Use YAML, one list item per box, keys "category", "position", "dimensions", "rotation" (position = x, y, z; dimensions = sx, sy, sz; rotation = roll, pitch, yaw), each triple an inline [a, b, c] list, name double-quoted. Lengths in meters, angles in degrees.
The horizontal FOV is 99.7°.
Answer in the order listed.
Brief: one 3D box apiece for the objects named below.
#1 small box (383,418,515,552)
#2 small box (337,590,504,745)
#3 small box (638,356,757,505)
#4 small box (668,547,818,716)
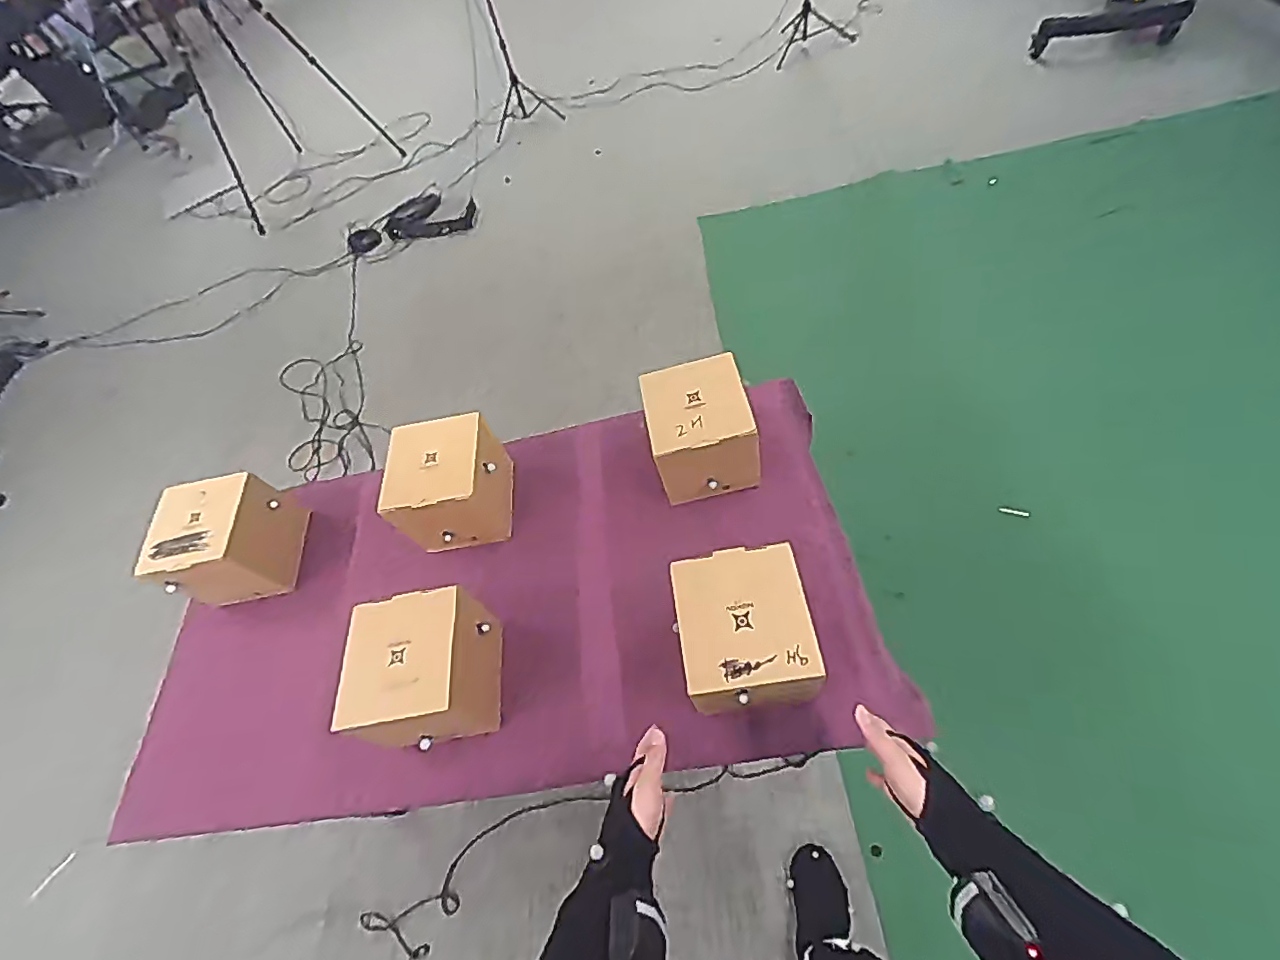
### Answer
- category: "small box"
  position: [-0.341, 0.014, 0.998]
  dimensions: [0.168, 0.176, 0.179]
  rotation: [-10, 60, 7]
- category: "small box"
  position: [-0.318, 0.290, 0.825]
  dimensions: [0.168, 0.176, 0.179]
  rotation: [-12, 56, 7]
- category: "small box"
  position: [0.102, -0.081, 0.947]
  dimensions: [0.168, 0.176, 0.179]
  rotation: [-14, 58, 8]
- category: "small box"
  position: [0.140, 0.217, 0.758]
  dimensions: [0.168, 0.176, 0.179]
  rotation: [-11, 58, 8]
